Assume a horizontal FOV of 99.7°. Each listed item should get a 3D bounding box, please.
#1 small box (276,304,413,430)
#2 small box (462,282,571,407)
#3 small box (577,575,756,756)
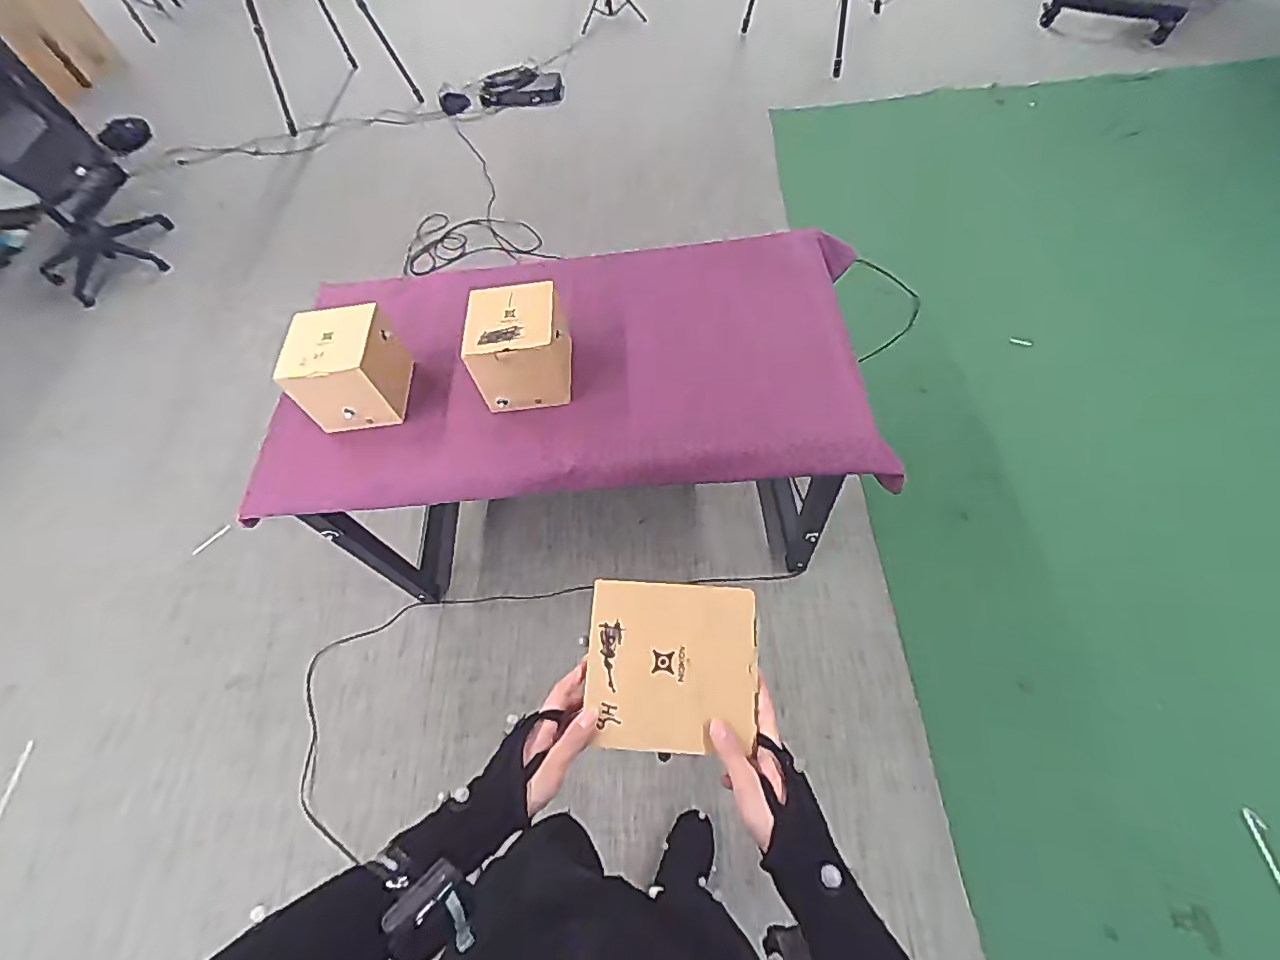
[{"bbox_3d":[-0.579,-0.224,1.087,0.168,0.176,0.179,-7,59,3],"label":"small box"},{"bbox_3d":[-0.234,-0.259,1.070,0.168,0.176,0.179,-6,58,3],"label":"small box"},{"bbox_3d":[0.032,0.214,0.628,0.179,0.176,0.168,4,68,3],"label":"small box"}]
